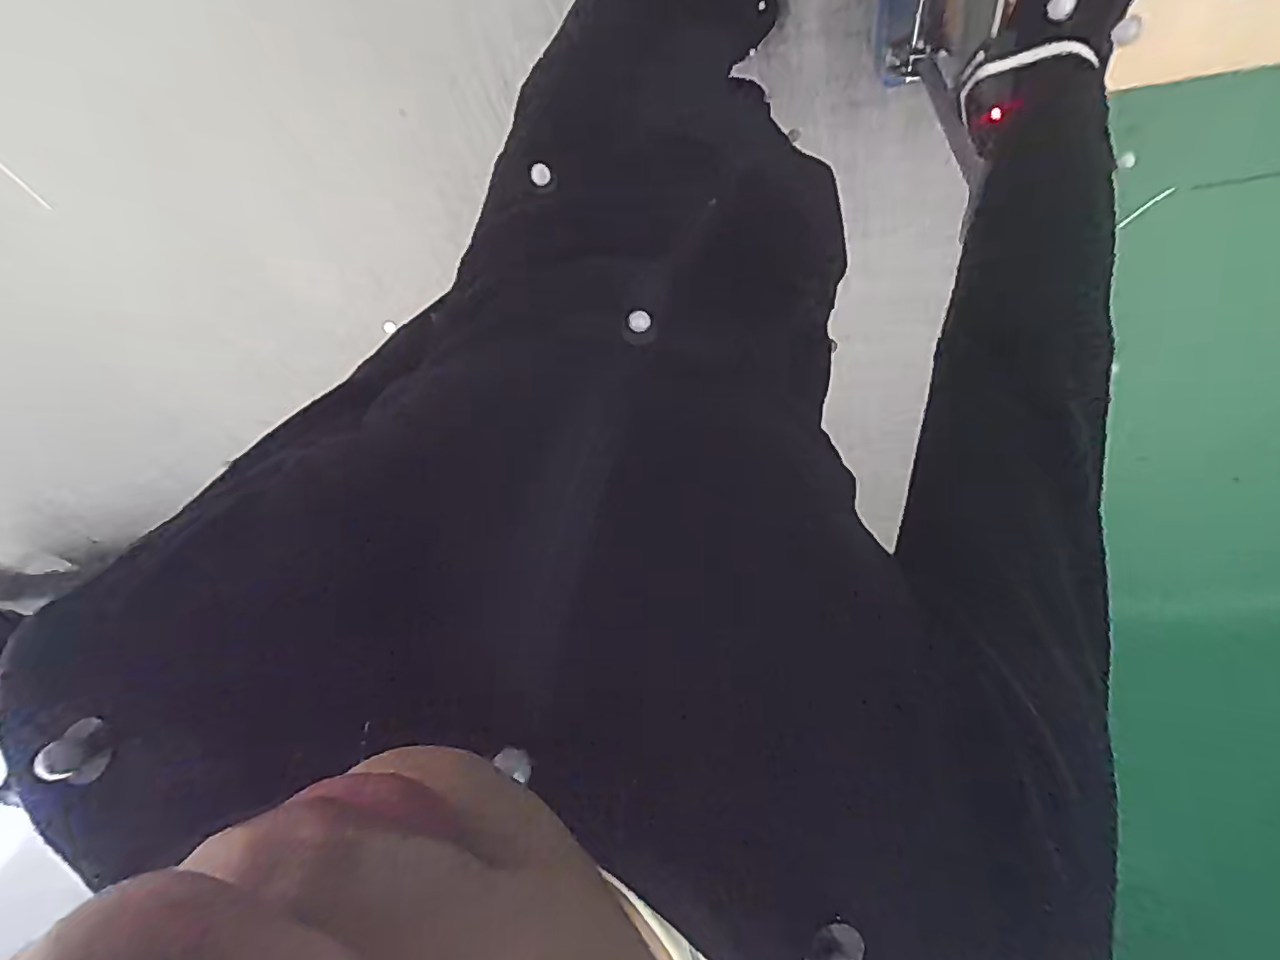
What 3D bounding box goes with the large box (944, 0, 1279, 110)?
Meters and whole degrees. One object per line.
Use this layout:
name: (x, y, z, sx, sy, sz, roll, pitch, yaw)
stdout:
large box: (0.683, -0.750, 0.712, 0.408, 0.320, 0.320, -2, 142, 12)
